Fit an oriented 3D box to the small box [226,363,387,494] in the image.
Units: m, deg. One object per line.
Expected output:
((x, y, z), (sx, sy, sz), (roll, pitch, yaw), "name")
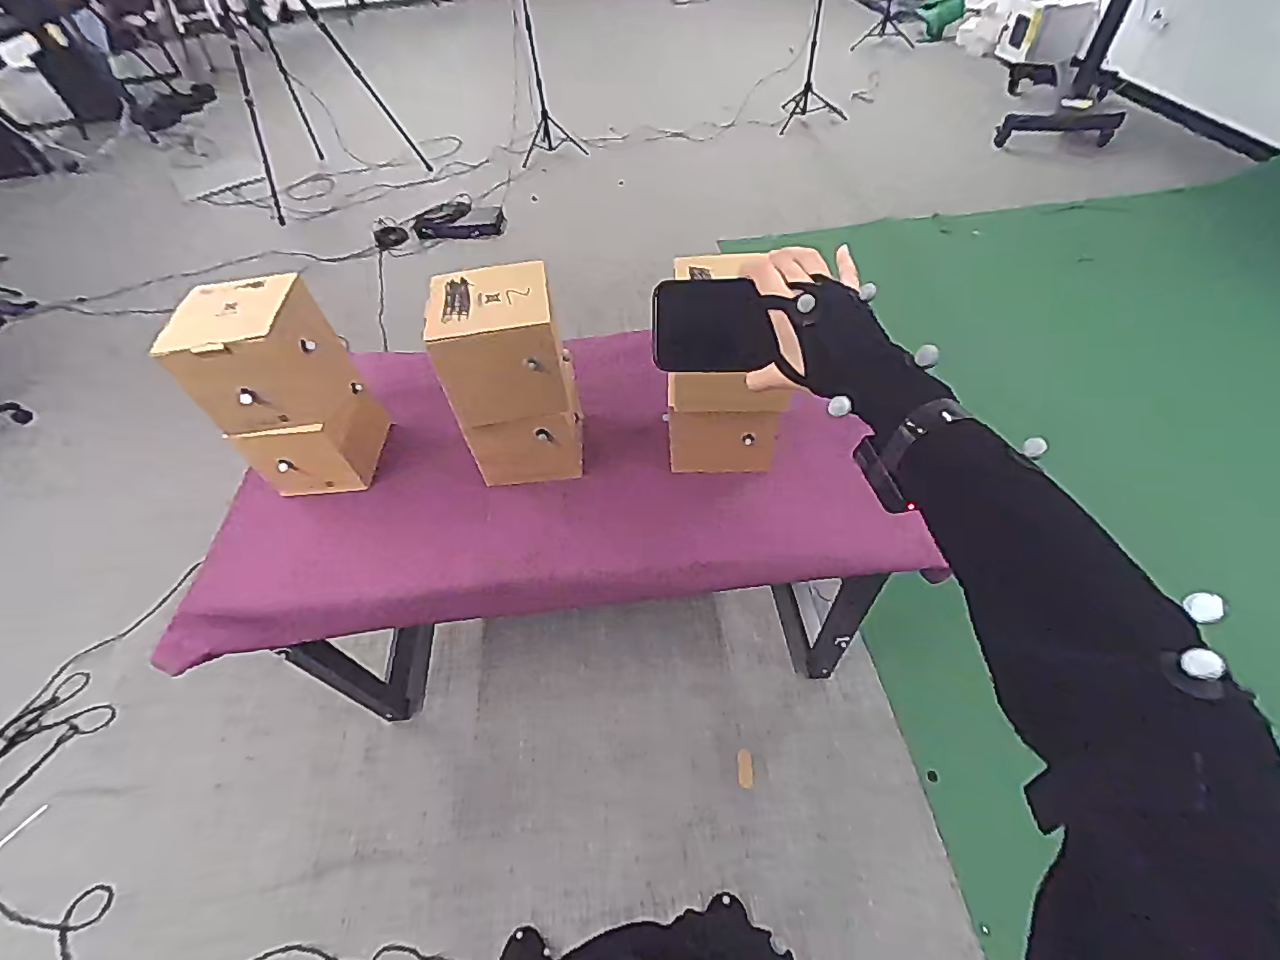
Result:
((-0.590, -0.087, 0.988), (0.168, 0.176, 0.179), (-5, 51, 2), "small box")

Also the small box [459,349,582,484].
((-0.200, -0.110, 0.966), (0.179, 0.176, 0.168), (-6, 51, 1), "small box")

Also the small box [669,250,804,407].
((0.136, -0.223, 0.814), (0.179, 0.176, 0.168), (-1, 51, 5), "small box")

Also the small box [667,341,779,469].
((0.140, -0.131, 0.950), (0.179, 0.176, 0.168), (-1, 51, 6), "small box")

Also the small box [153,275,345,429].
((-0.604, -0.196, 0.866), (0.168, 0.176, 0.179), (-9, 52, -2), "small box")
